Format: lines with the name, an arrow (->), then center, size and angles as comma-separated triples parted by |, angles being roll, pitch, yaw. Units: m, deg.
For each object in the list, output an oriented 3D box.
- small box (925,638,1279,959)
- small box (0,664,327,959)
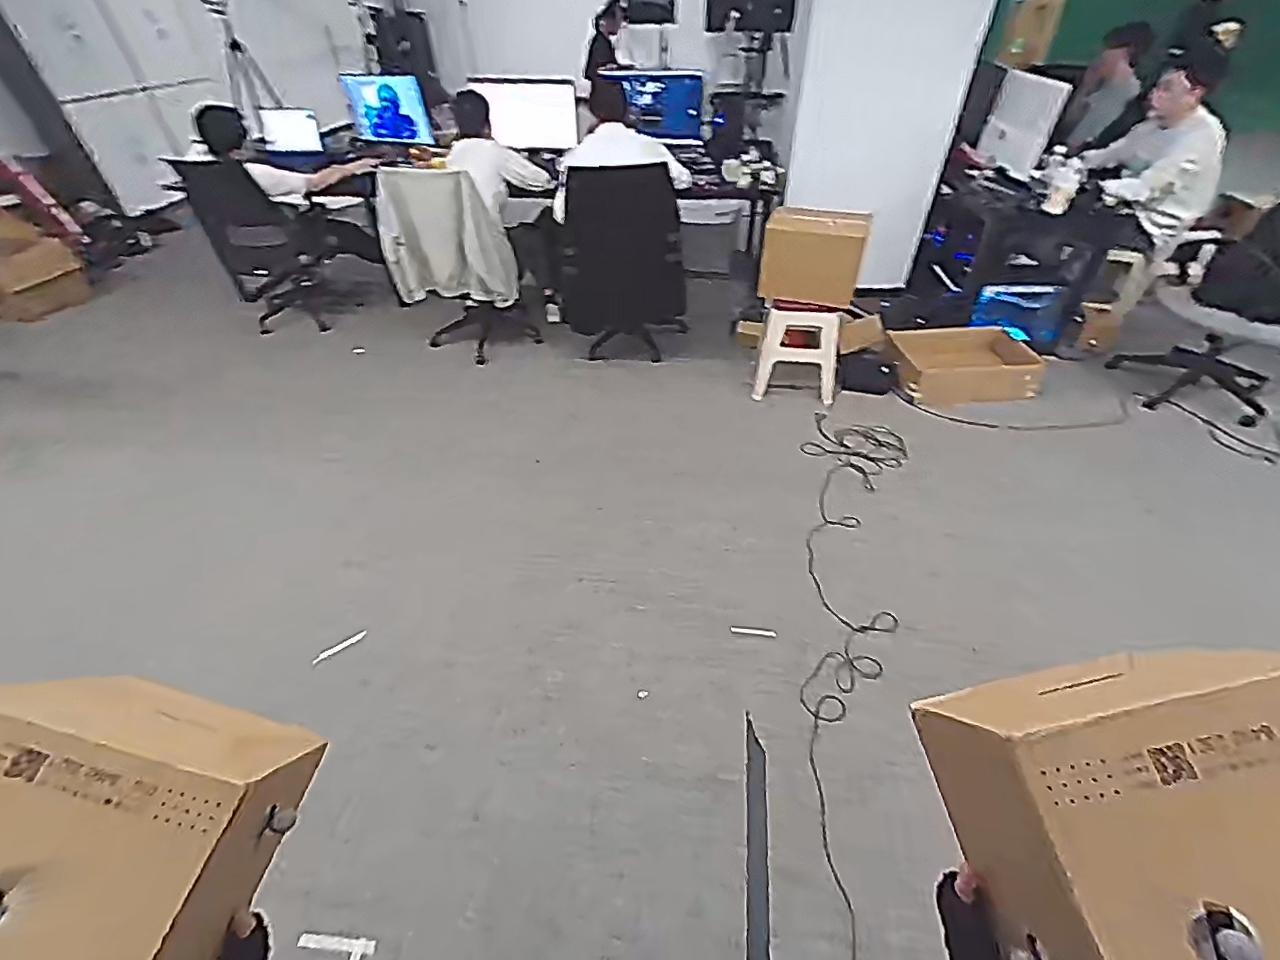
small box -> 0.285, 0.186, 0.291 | 0.168, 0.179, 0.176 | -15, 71, 6
small box -> -0.335, 0.222, 0.336 | 0.168, 0.179, 0.176 | 23, 67, -6
